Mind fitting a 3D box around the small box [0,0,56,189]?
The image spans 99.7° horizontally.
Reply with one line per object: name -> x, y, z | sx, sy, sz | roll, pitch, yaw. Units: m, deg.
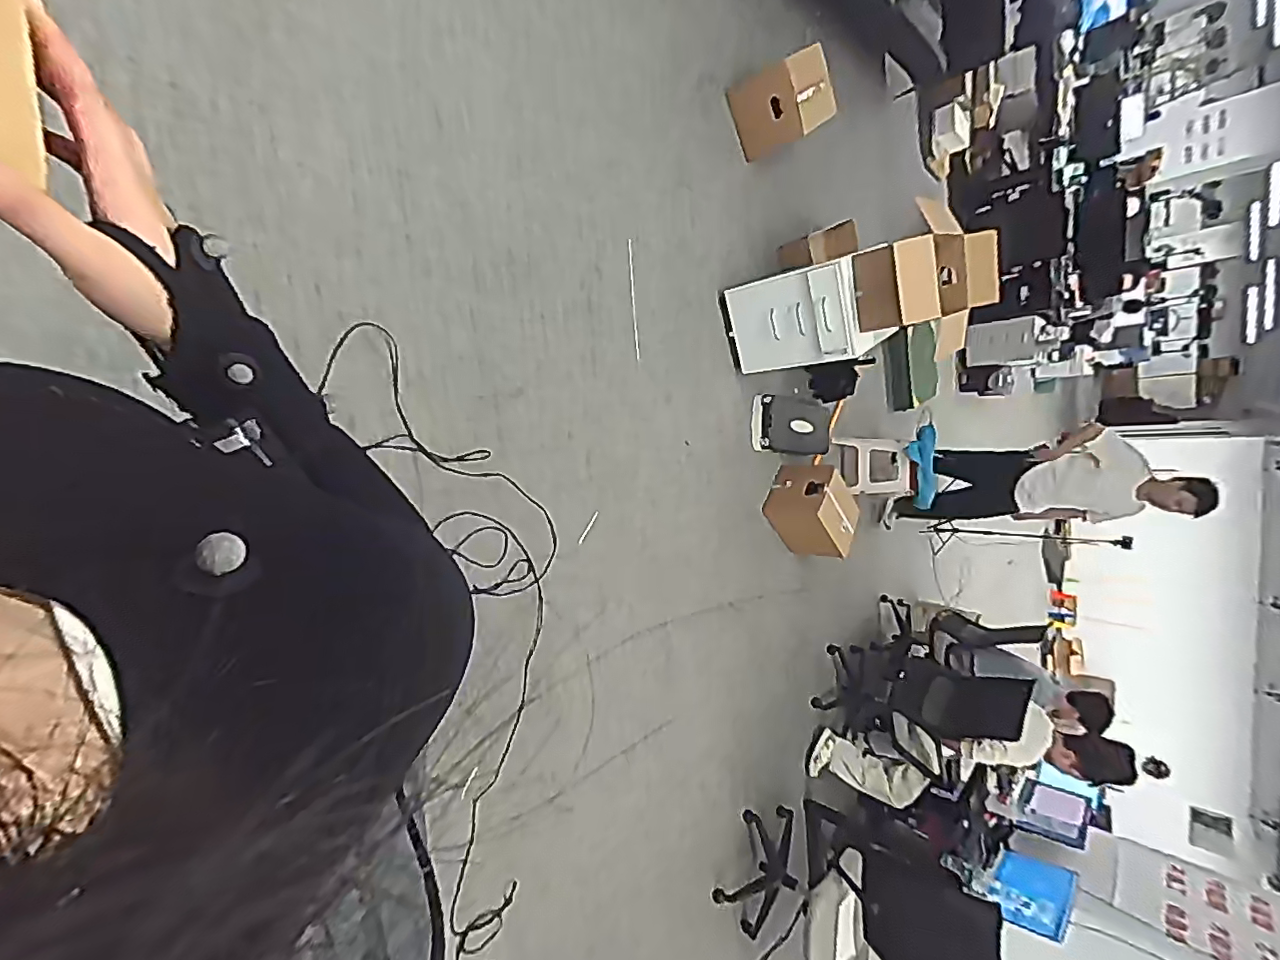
small box -> -0.372, -0.237, 0.221 | 0.168, 0.176, 0.179 | -10, 117, -49
